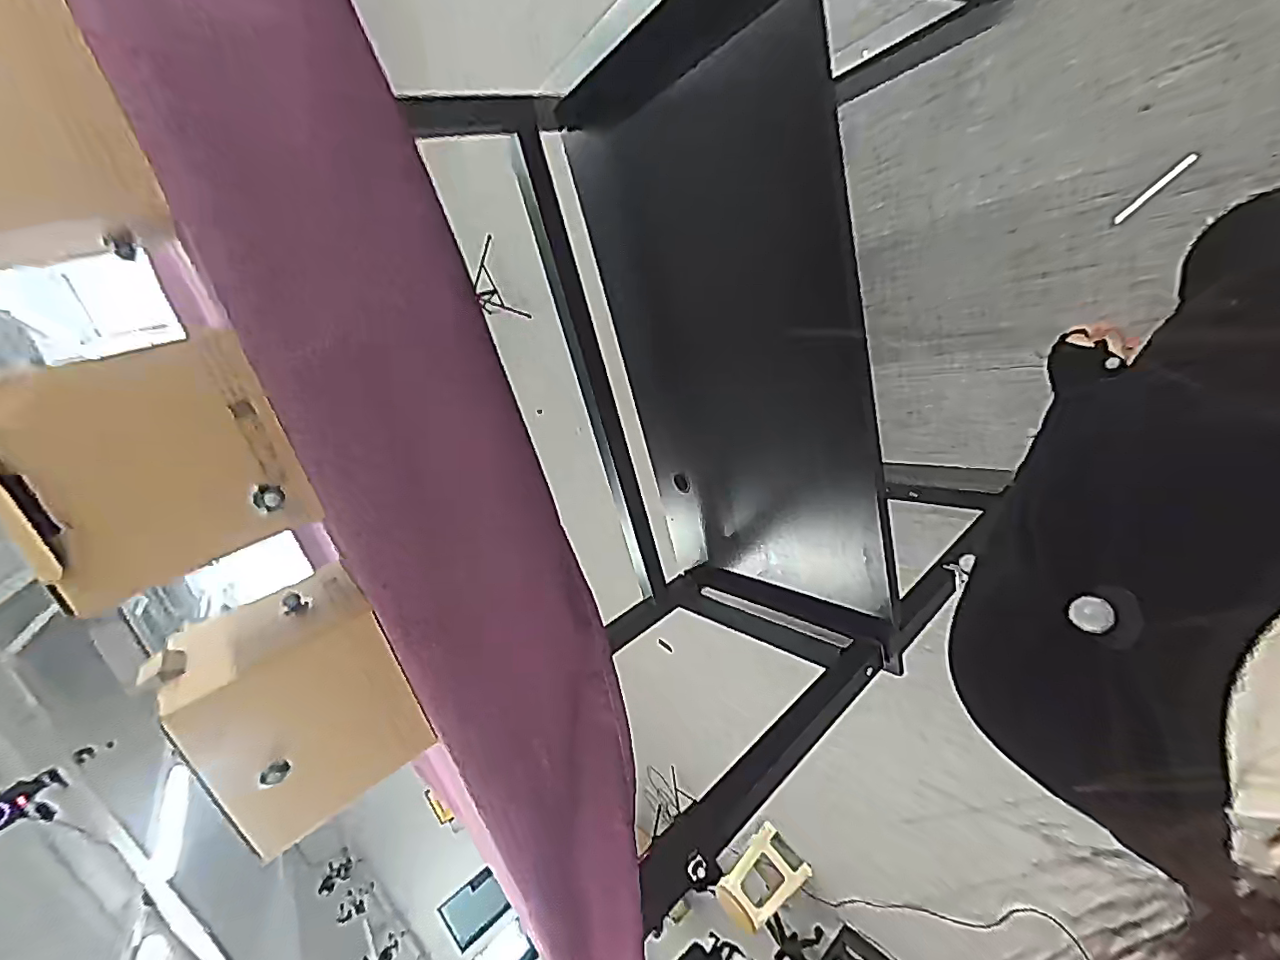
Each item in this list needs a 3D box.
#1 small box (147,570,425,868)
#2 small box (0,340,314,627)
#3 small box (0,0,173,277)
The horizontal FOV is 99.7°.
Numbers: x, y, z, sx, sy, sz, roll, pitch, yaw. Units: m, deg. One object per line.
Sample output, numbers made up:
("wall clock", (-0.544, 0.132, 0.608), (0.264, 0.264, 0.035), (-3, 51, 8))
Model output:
("small box", (-0.343, 0.222, 0.547), (0.168, 0.176, 0.179), (14, 125, 50))
("small box", (-0.402, -0.012, 0.456), (0.179, 0.176, 0.168), (11, 122, 53))
("small box", (-0.454, -0.238, 0.358), (0.168, 0.176, 0.179), (17, 127, 50))
